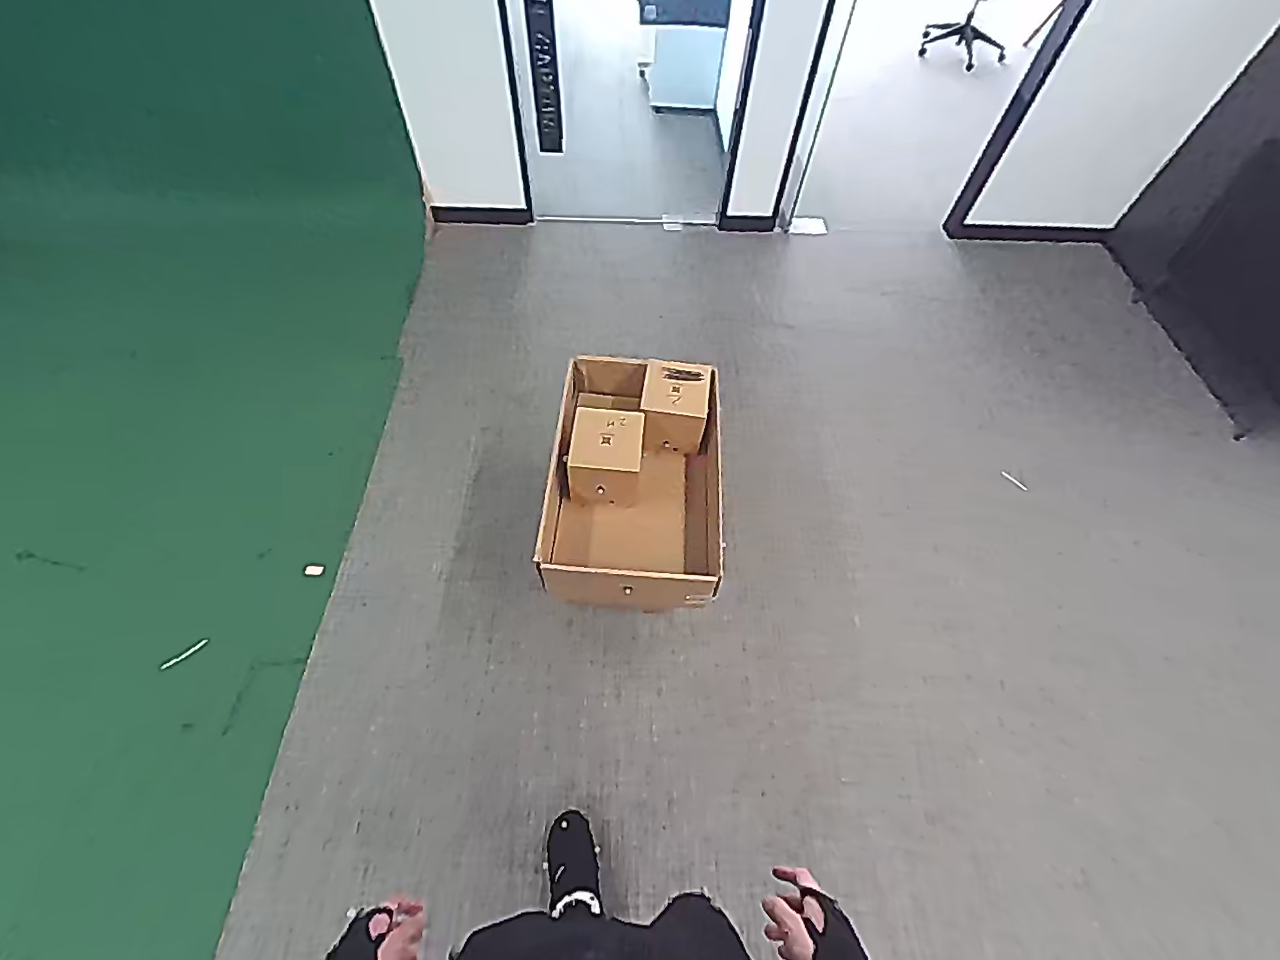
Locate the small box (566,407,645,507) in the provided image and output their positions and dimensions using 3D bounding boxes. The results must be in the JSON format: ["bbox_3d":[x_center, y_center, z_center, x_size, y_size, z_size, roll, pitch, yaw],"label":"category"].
[{"bbox_3d":[-0.081,-0.050,1.314,0.168,0.176,0.179,6,57,-1],"label":"small box"}]
